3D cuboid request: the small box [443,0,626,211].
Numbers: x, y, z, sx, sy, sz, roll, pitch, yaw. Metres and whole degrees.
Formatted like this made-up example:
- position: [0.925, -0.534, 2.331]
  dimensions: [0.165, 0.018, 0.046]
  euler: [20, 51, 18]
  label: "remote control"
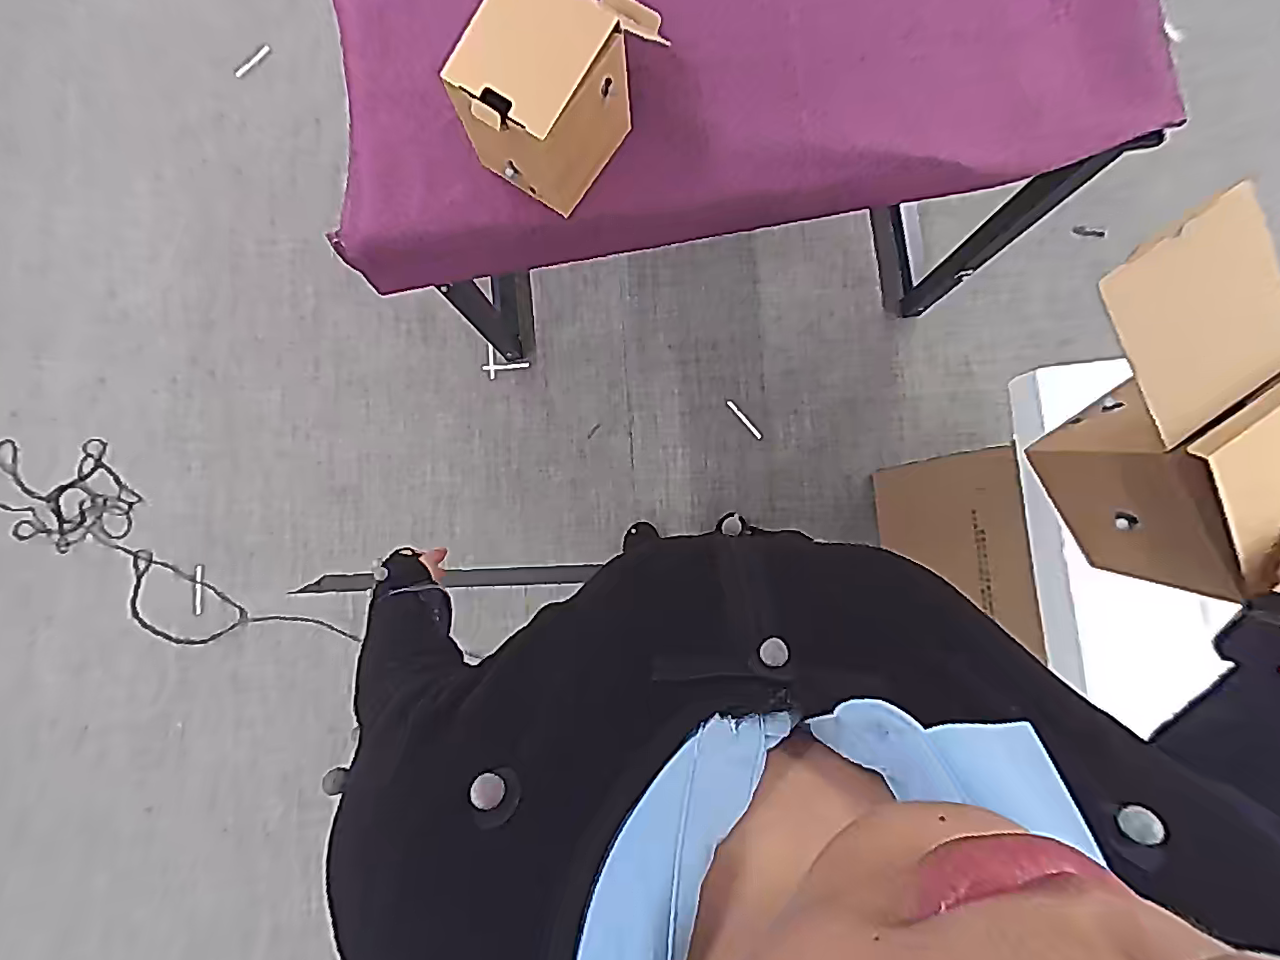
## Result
- position: [-0.131, -0.526, 0.754]
  dimensions: [0.168, 0.176, 0.179]
  euler: [34, 87, 6]
  label: "small box"
